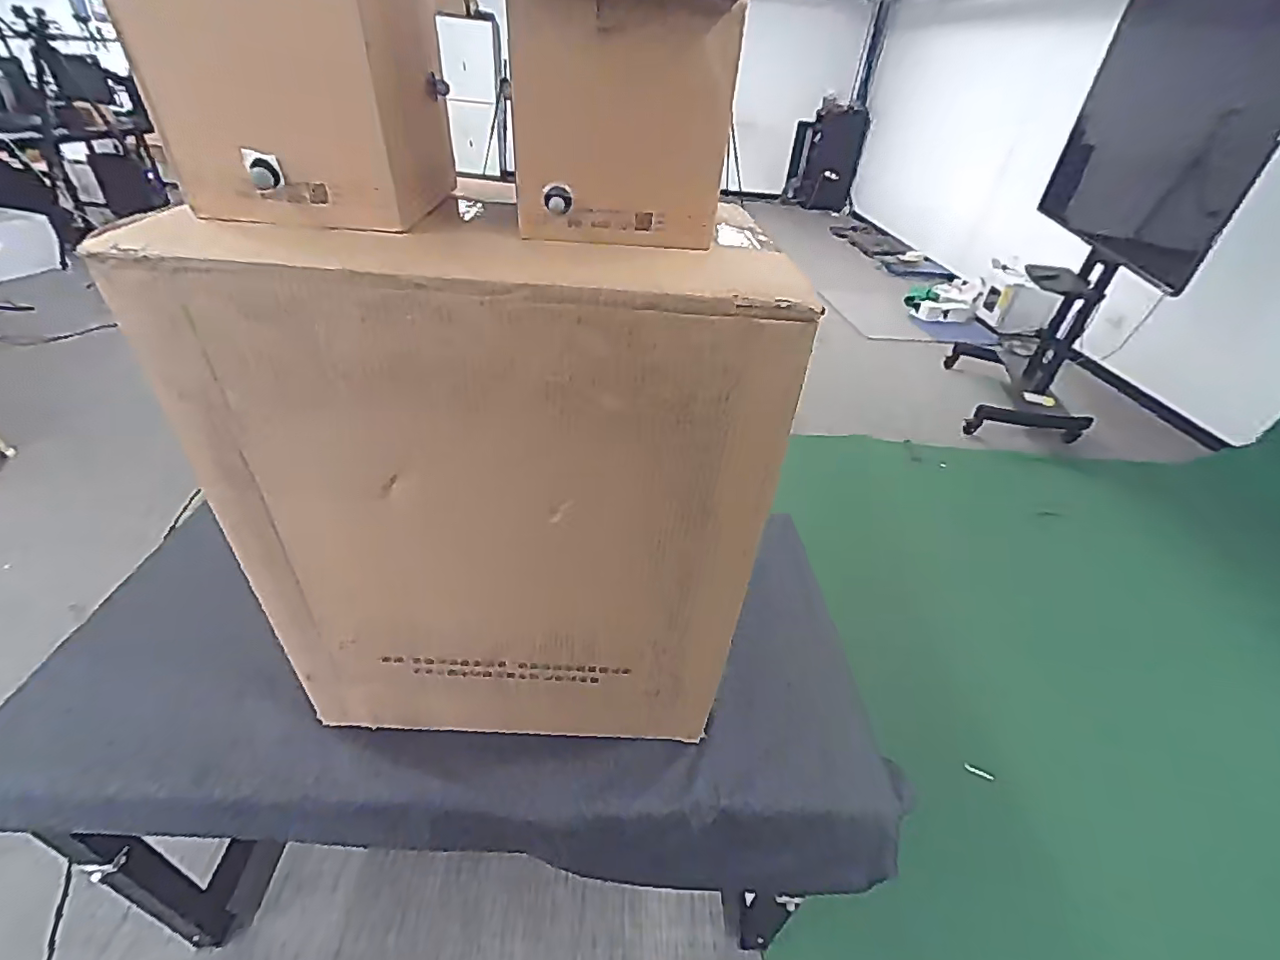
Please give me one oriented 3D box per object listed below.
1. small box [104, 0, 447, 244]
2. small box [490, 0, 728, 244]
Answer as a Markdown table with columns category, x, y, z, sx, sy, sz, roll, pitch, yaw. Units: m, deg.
| category | x | y | z | sx | sy | sz | roll | pitch | yaw |
| --- | --- | --- | --- | --- | --- | --- | --- | --- | --- |
| small box | -0.270 | -0.310 | 0.447 | 0.168 | 0.176 | 0.179 | 0 | 41 | -3 |
| small box | -0.030 | -0.316 | 0.473 | 0.168 | 0.176 | 0.179 | -1 | 38 | -7 |
